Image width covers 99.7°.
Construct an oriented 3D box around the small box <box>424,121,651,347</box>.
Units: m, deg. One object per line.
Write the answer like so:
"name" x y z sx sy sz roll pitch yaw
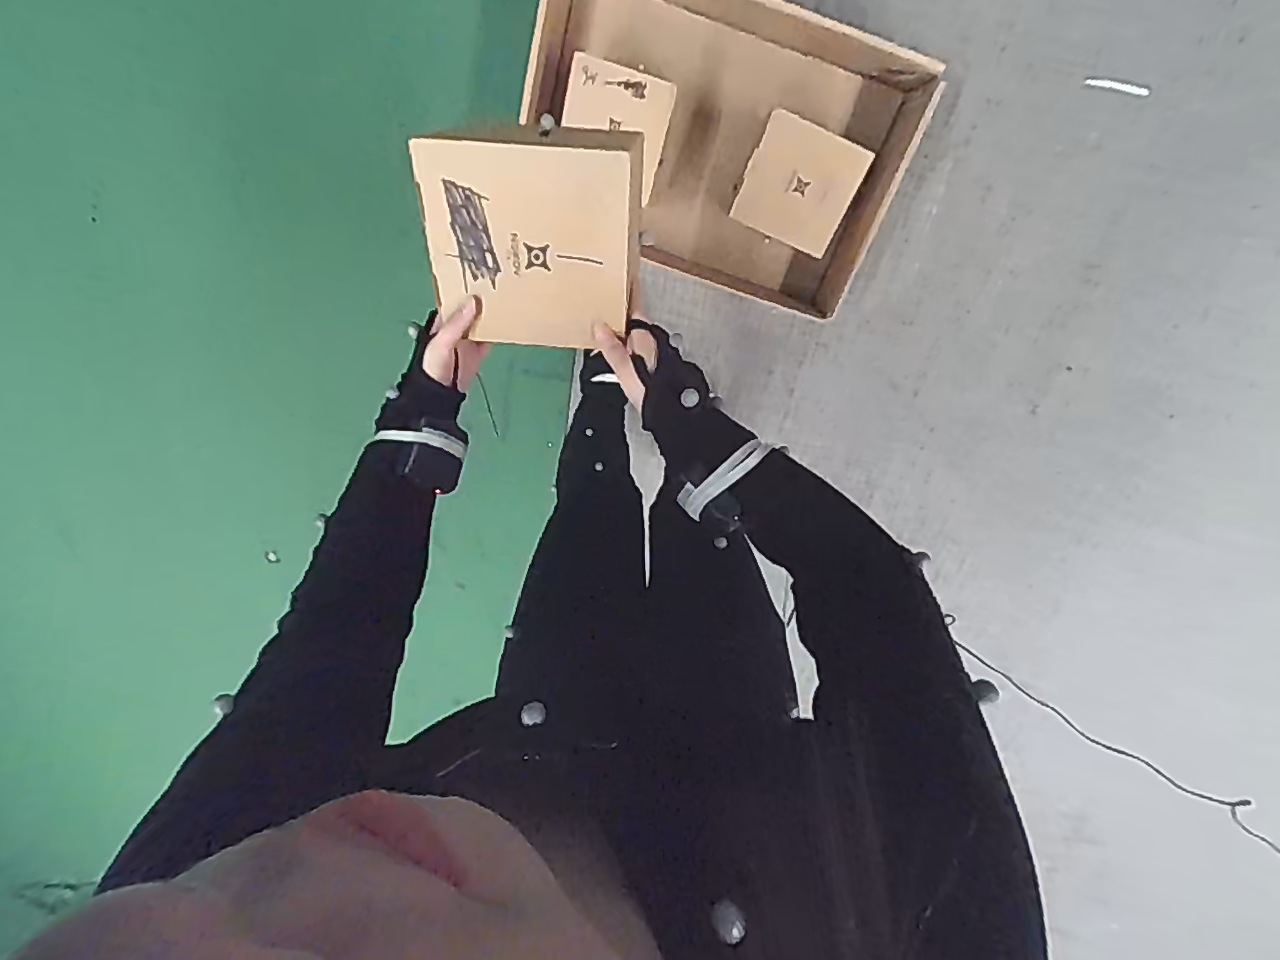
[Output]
"small box" -0.086 -0.248 0.535 0.179 0.176 0.168 5 127 0
